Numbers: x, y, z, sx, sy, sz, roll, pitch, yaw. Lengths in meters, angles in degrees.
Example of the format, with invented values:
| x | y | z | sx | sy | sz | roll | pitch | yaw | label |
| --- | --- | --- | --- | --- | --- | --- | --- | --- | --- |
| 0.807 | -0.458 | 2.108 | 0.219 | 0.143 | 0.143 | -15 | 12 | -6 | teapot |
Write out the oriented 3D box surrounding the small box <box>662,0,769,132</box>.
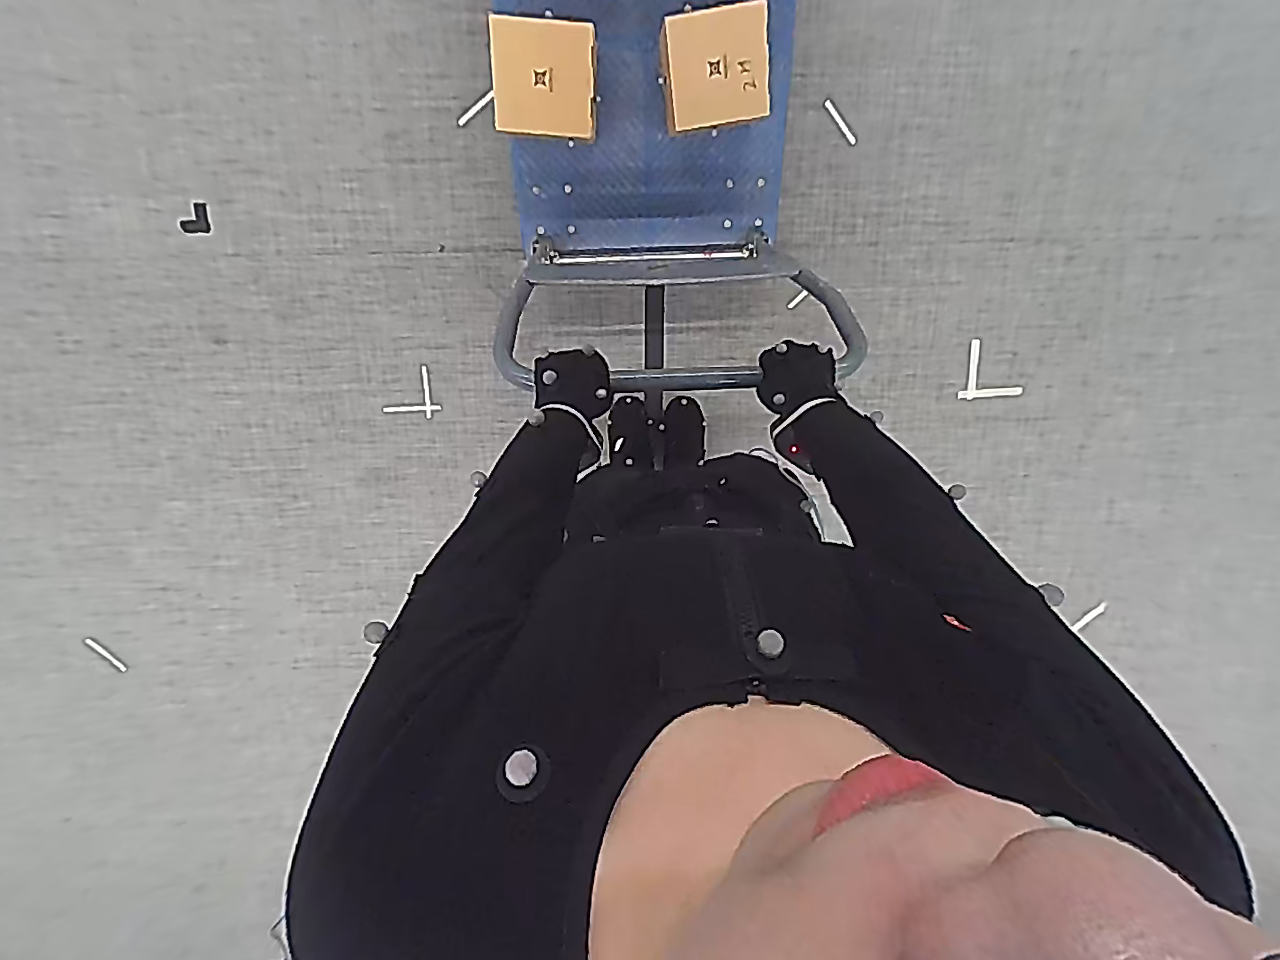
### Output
| x | y | z | sx | sy | sz | roll | pitch | yaw | label |
| --- | --- | --- | --- | --- | --- | --- | --- | --- | --- |
| 0.134 | -0.759 | 1.007 | 0.179 | 0.176 | 0.168 | -8 | 120 | 3 | small box |

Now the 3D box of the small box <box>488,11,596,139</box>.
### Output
| x | y | z | sx | sy | sz | roll | pitch | yaw | label |
| --- | --- | --- | --- | --- | --- | --- | --- | --- | --- |
| -0.174 | -0.740 | 1.007 | 0.179 | 0.176 | 0.168 | 1 | 120 | -5 | small box |
